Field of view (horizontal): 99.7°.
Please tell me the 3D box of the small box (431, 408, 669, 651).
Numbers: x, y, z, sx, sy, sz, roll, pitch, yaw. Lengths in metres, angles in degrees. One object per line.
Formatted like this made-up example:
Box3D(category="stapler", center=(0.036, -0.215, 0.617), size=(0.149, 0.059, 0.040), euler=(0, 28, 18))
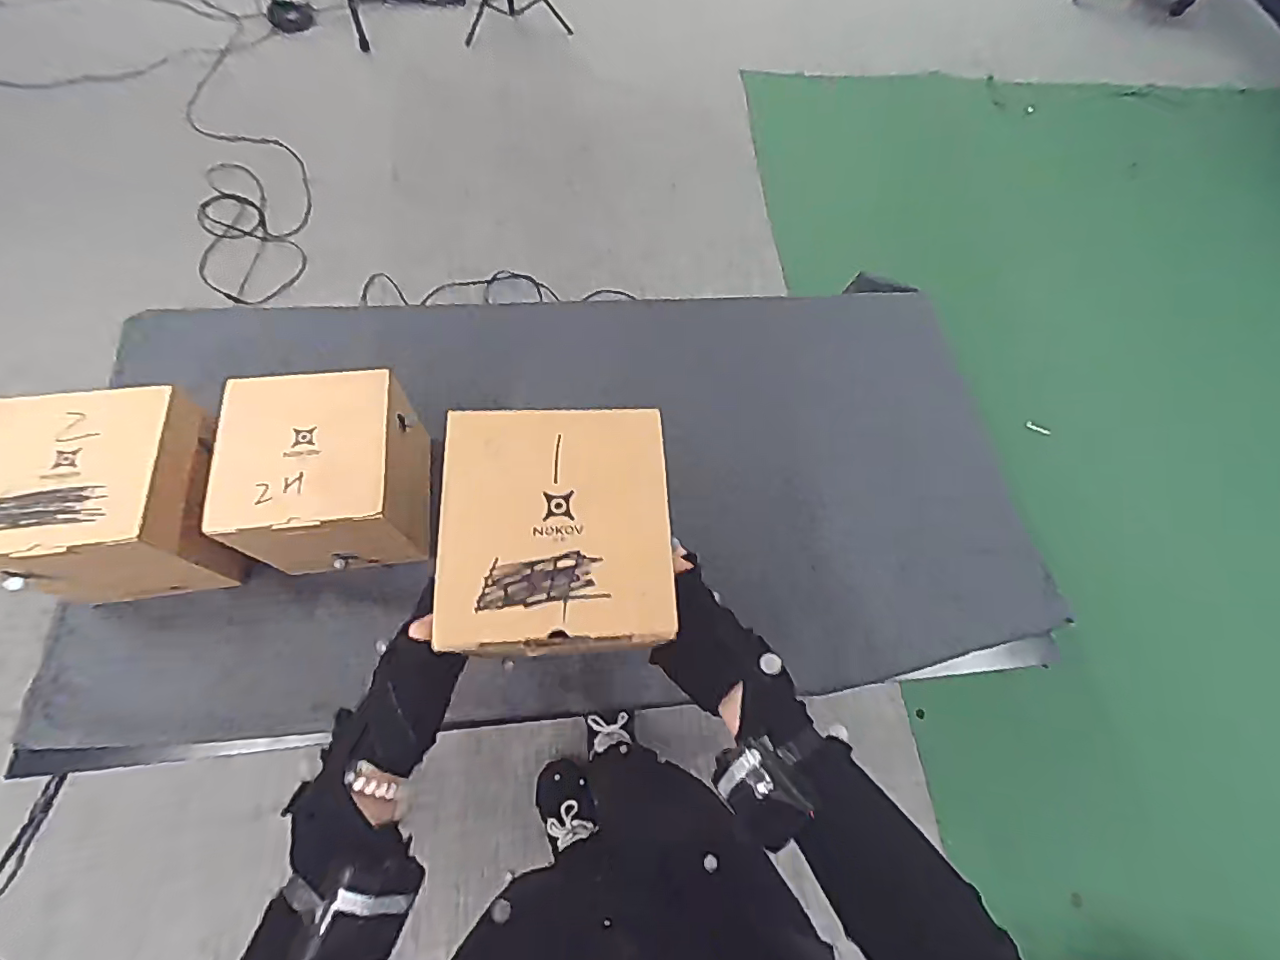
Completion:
Box3D(category="small box", center=(-0.069, 0.053, 0.471), size=(0.168, 0.176, 0.179), euler=(-1, 68, -6))
